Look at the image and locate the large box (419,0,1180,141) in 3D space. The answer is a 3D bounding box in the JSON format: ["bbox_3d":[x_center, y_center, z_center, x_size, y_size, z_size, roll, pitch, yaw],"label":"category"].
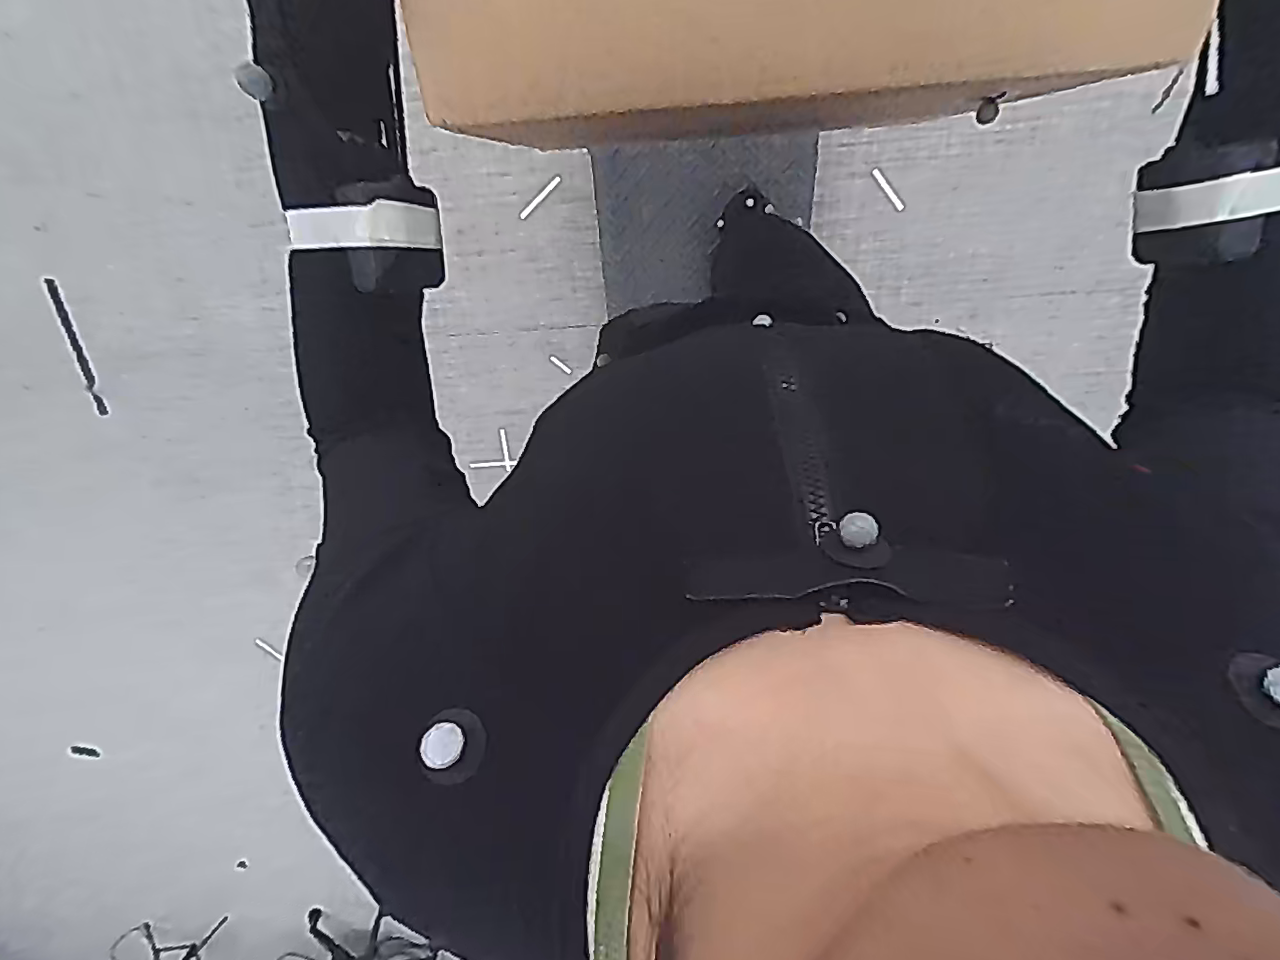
[{"bbox_3d":[0.078,-0.425,0.355,0.408,0.320,0.320,-3,119,4],"label":"large box"}]
